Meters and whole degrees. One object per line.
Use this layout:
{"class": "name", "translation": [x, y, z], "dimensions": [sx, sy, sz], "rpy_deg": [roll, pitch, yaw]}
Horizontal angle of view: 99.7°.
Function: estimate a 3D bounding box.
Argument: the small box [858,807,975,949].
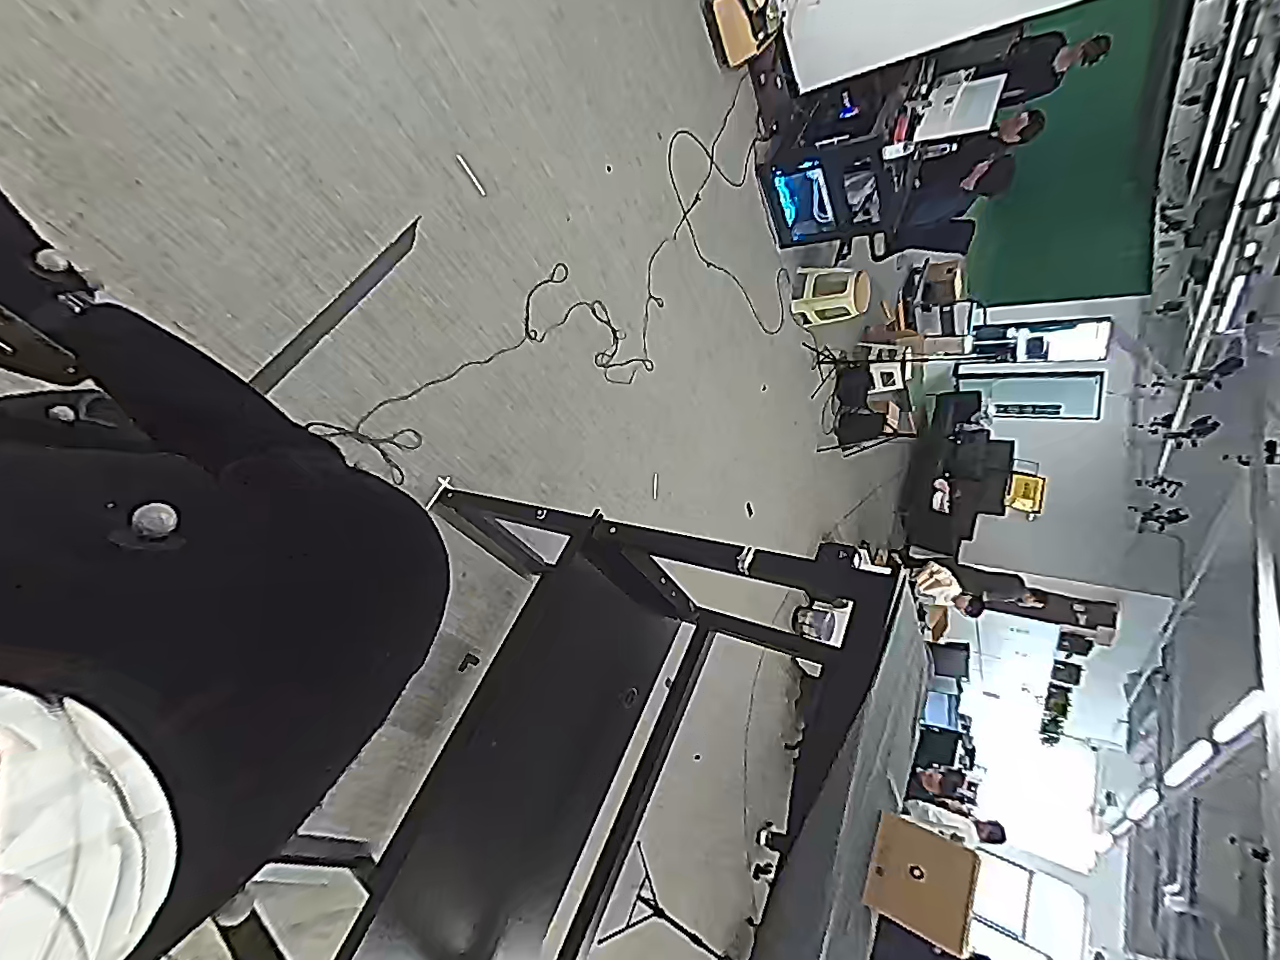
{"class": "small box", "translation": [0.539, 0.768, 1.054], "dimensions": [0.179, 0.176, 0.168], "rpy_deg": [51, 58, -43]}
